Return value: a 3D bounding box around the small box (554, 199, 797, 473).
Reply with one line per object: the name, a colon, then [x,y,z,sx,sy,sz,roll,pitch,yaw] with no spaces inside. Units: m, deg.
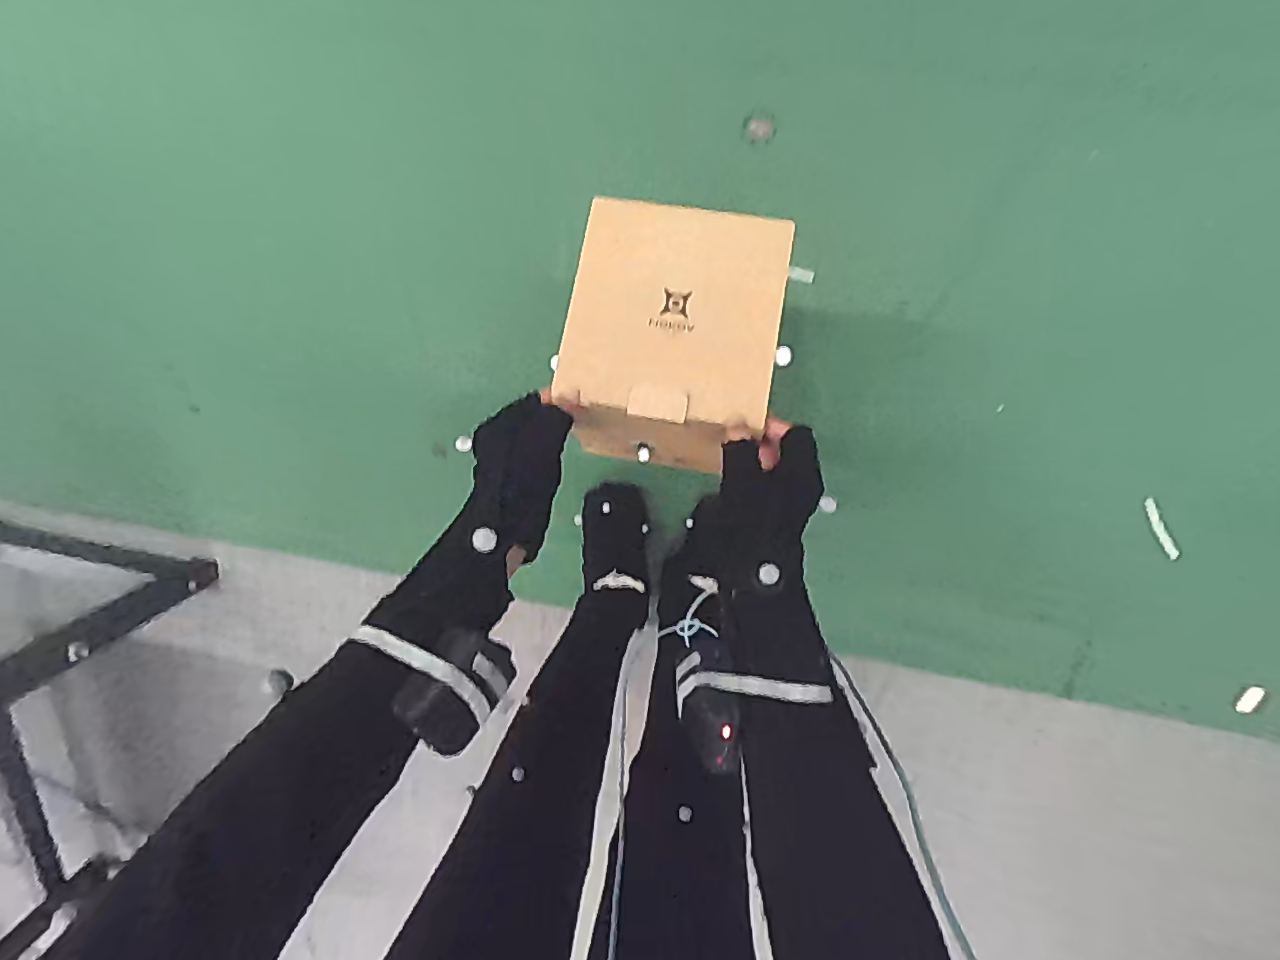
small box: [0.032,-0.116,0.495,0.168,0.176,0.179,10,82,4]
